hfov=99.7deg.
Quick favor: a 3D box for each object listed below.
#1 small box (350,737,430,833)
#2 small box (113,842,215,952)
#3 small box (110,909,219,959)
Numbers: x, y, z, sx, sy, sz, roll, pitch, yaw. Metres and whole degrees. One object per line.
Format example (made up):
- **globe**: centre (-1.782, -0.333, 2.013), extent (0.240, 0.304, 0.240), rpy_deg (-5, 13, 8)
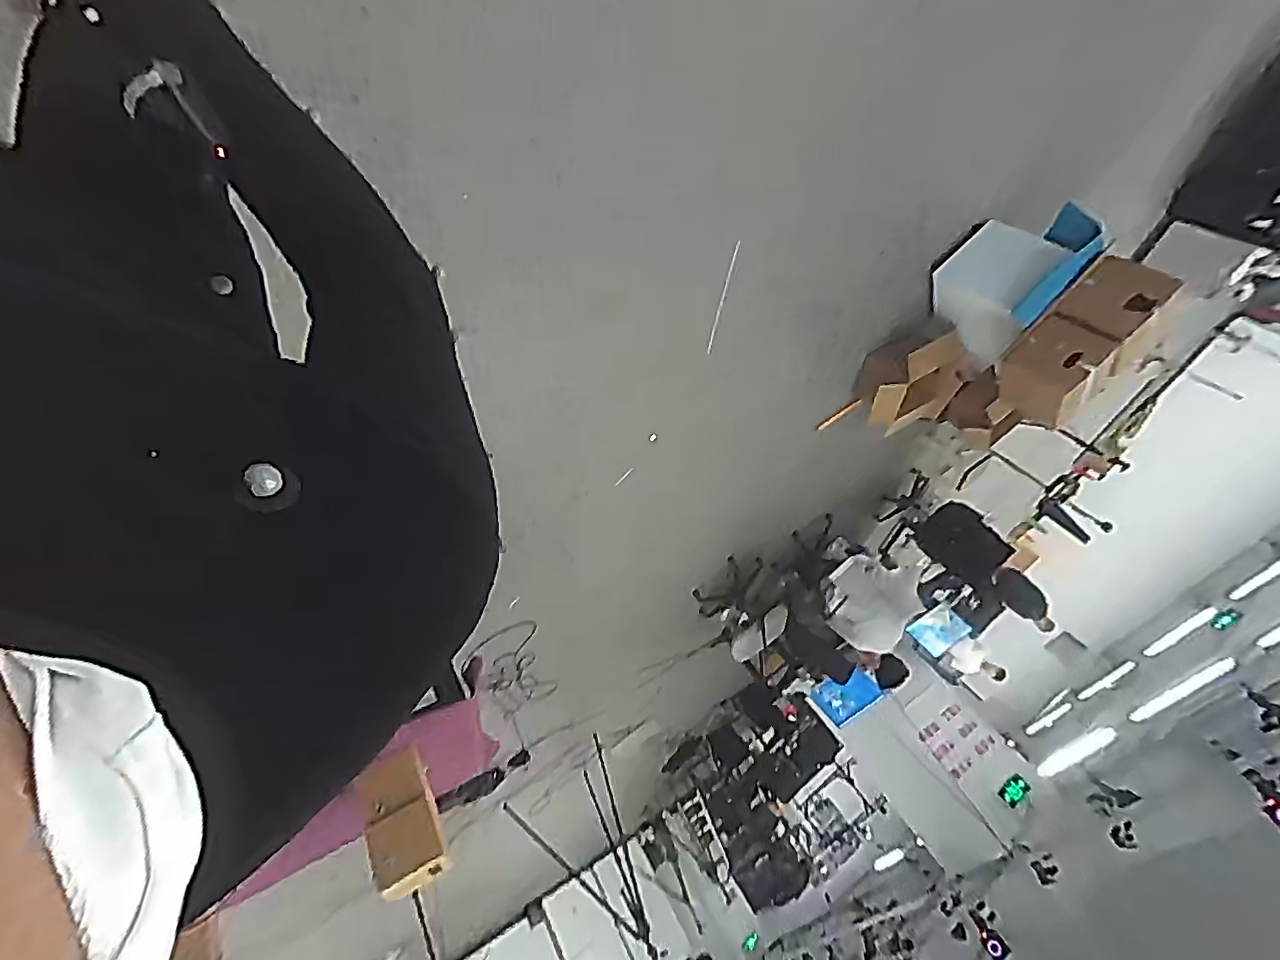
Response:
- **small box**: centre (-0.763, 0.924, 1.644), extent (0.179, 0.176, 0.168), rpy_deg (-21, 143, -26)
- **small box**: centre (-1.219, 1.076, 1.387), extent (0.179, 0.176, 0.168), rpy_deg (-9, 136, -37)
- **small box**: centre (-1.133, 1.182, 1.297), extent (0.179, 0.176, 0.168), rpy_deg (-13, 138, -36)
